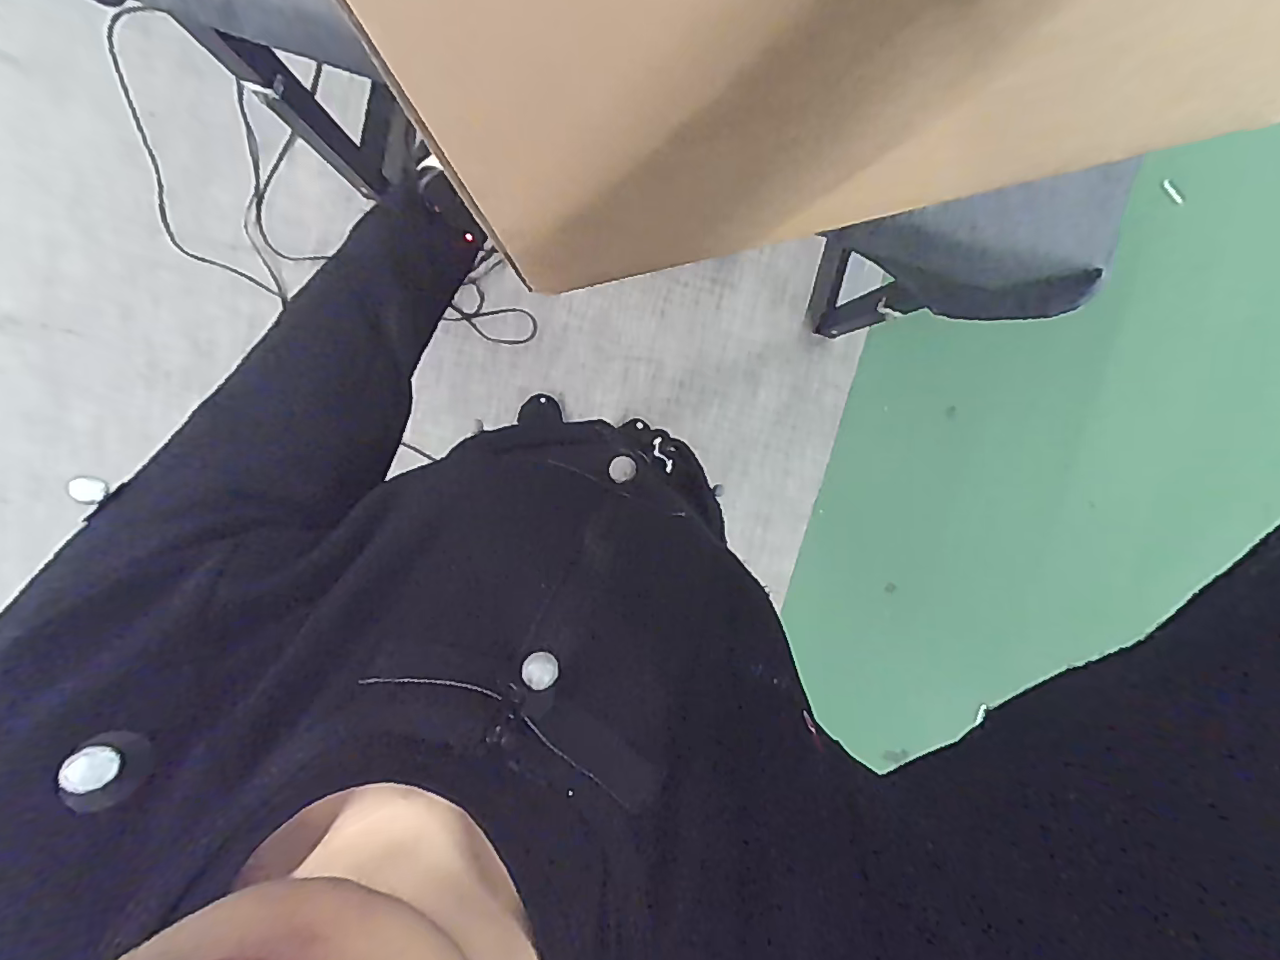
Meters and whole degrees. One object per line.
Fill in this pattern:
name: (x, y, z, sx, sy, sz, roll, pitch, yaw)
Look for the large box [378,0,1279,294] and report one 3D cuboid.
large box: (0.085, -0.344, 0.241, 0.408, 0.320, 0.320, -11, 67, 12)
